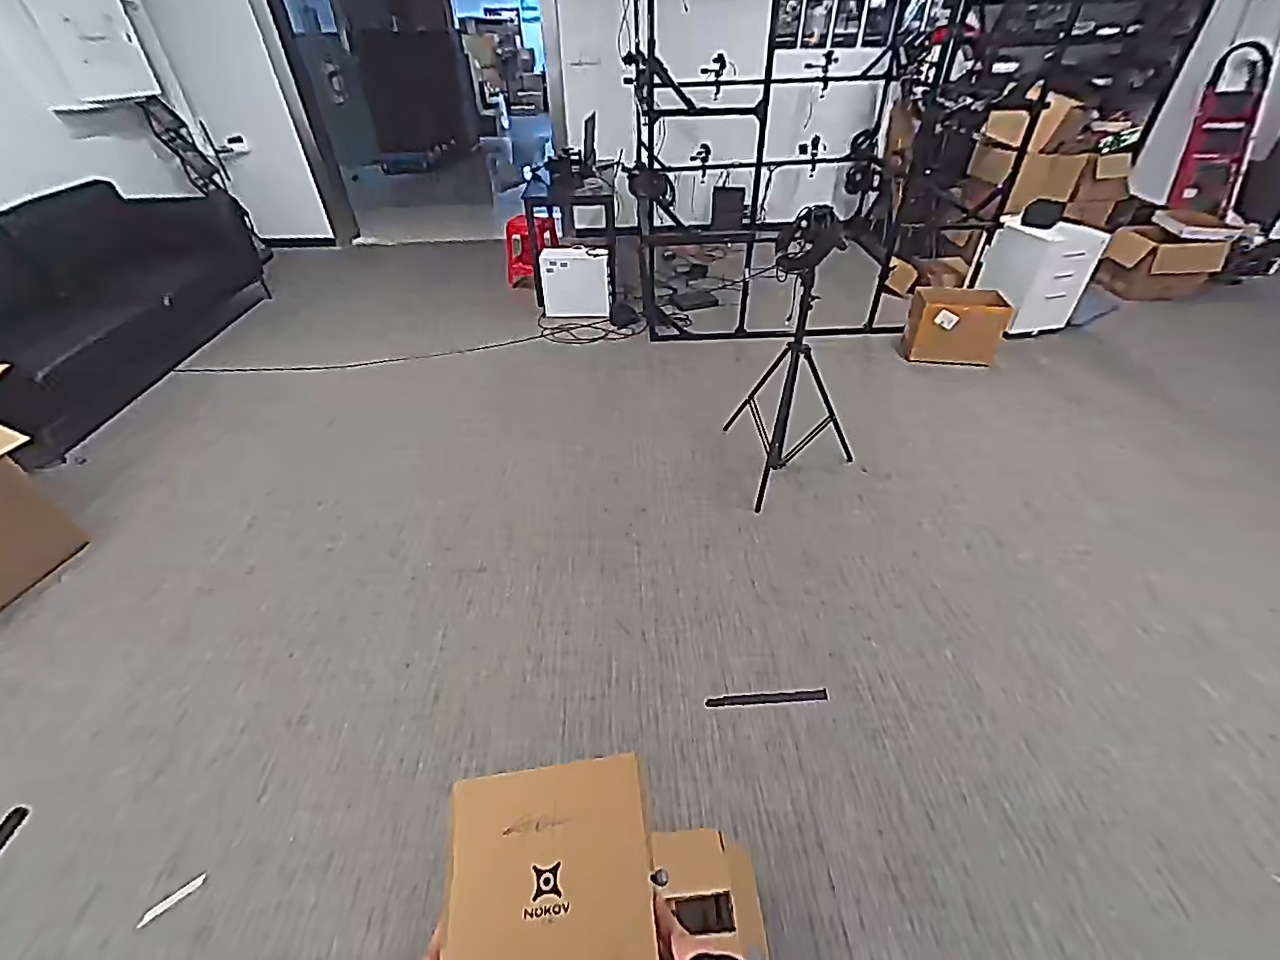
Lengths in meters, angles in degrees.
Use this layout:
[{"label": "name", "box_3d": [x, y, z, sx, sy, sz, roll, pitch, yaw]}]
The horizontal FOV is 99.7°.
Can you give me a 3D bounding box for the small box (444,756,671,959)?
[{"label": "small box", "box_3d": [-0.064, 0.370, 0.485, 0.168, 0.176, 0.179, -8, 52, -3]}]
